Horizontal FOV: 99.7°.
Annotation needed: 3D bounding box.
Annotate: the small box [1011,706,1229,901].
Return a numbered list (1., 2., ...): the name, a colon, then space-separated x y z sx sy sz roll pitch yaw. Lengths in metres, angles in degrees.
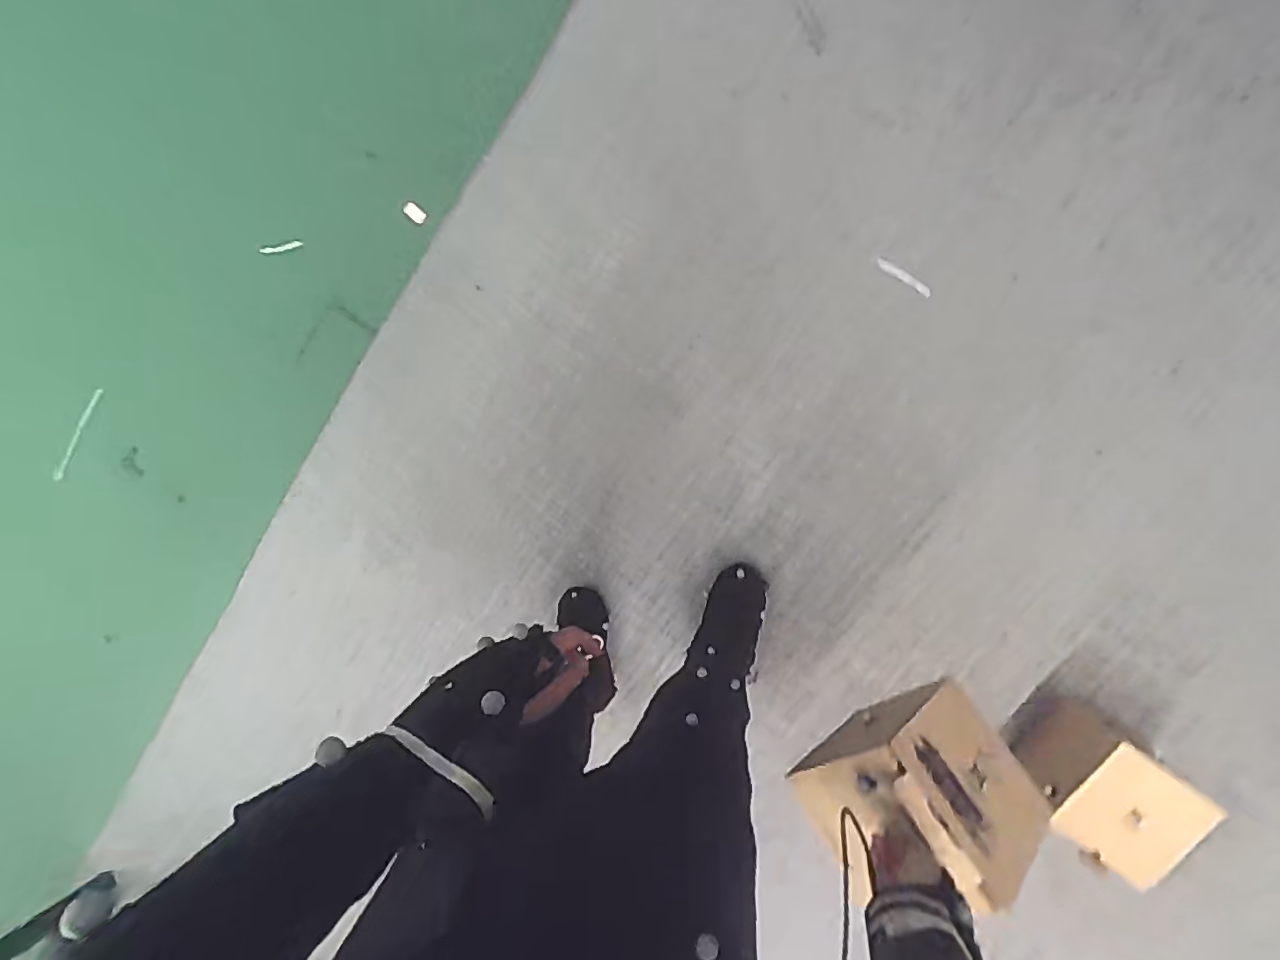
1. small box: 0.760 0.511 0.885 0.168 0.176 0.179 35 100 9
